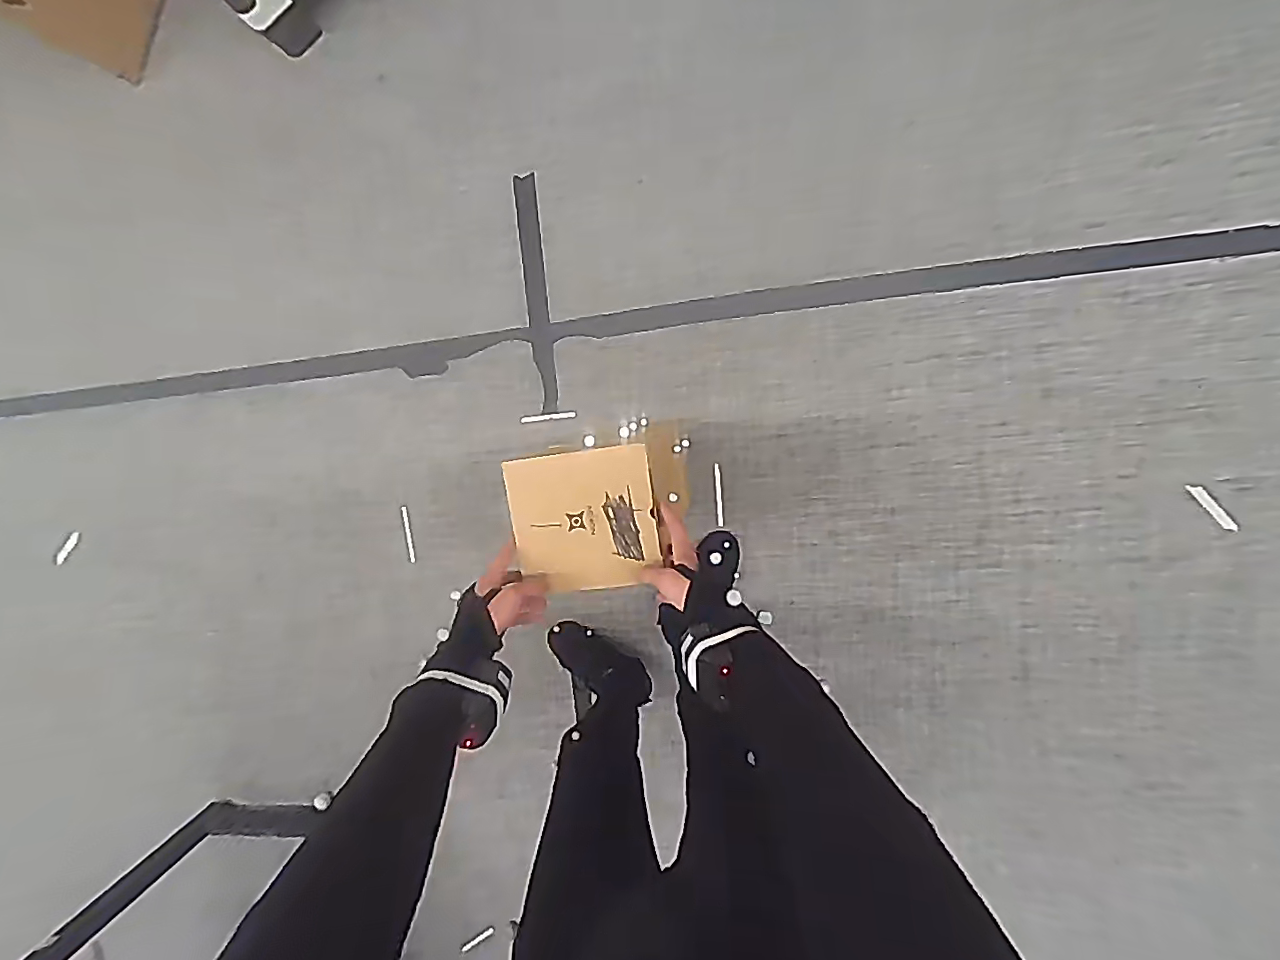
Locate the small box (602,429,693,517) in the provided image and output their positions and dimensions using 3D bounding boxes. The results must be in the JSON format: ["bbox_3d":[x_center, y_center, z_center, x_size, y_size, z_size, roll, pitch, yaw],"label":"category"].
[{"bbox_3d":[0.022,-0.014,1.191,0.168,0.176,0.179,-7,100,10],"label":"small box"}]

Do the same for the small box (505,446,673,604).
[{"bbox_3d":[-0.053,0.050,0.707,0.179,0.176,0.168,-7,97,9],"label":"small box"}]

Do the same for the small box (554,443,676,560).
[{"bbox_3d":[-0.033,0.034,0.871,0.168,0.176,0.179,-4,99,9],"label":"small box"}]
